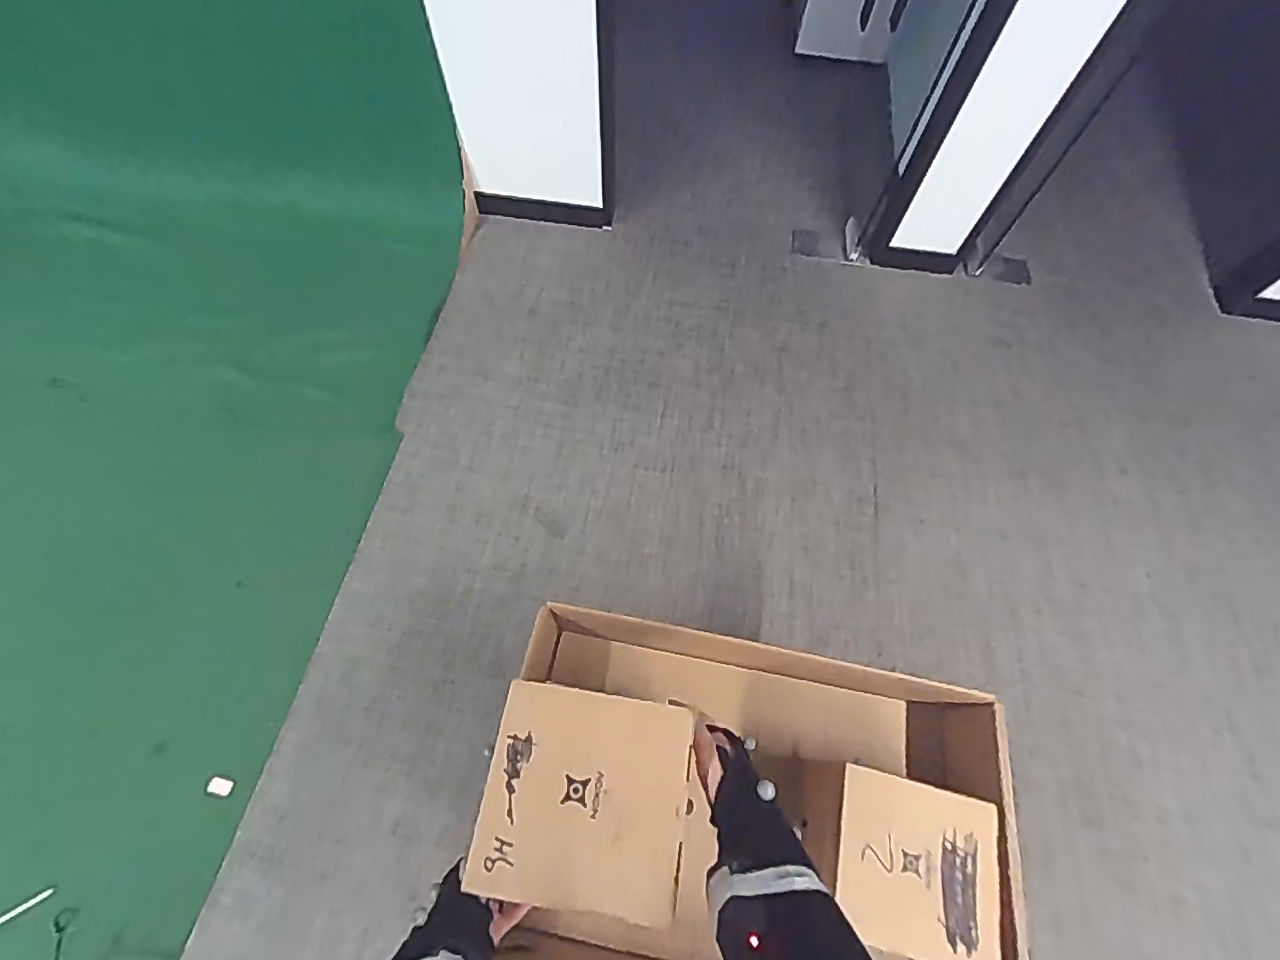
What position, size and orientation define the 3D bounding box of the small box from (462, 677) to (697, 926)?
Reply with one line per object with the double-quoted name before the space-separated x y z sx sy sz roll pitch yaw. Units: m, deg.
"small box" -0.048 0.304 0.538 0.179 0.176 0.168 9 63 3
